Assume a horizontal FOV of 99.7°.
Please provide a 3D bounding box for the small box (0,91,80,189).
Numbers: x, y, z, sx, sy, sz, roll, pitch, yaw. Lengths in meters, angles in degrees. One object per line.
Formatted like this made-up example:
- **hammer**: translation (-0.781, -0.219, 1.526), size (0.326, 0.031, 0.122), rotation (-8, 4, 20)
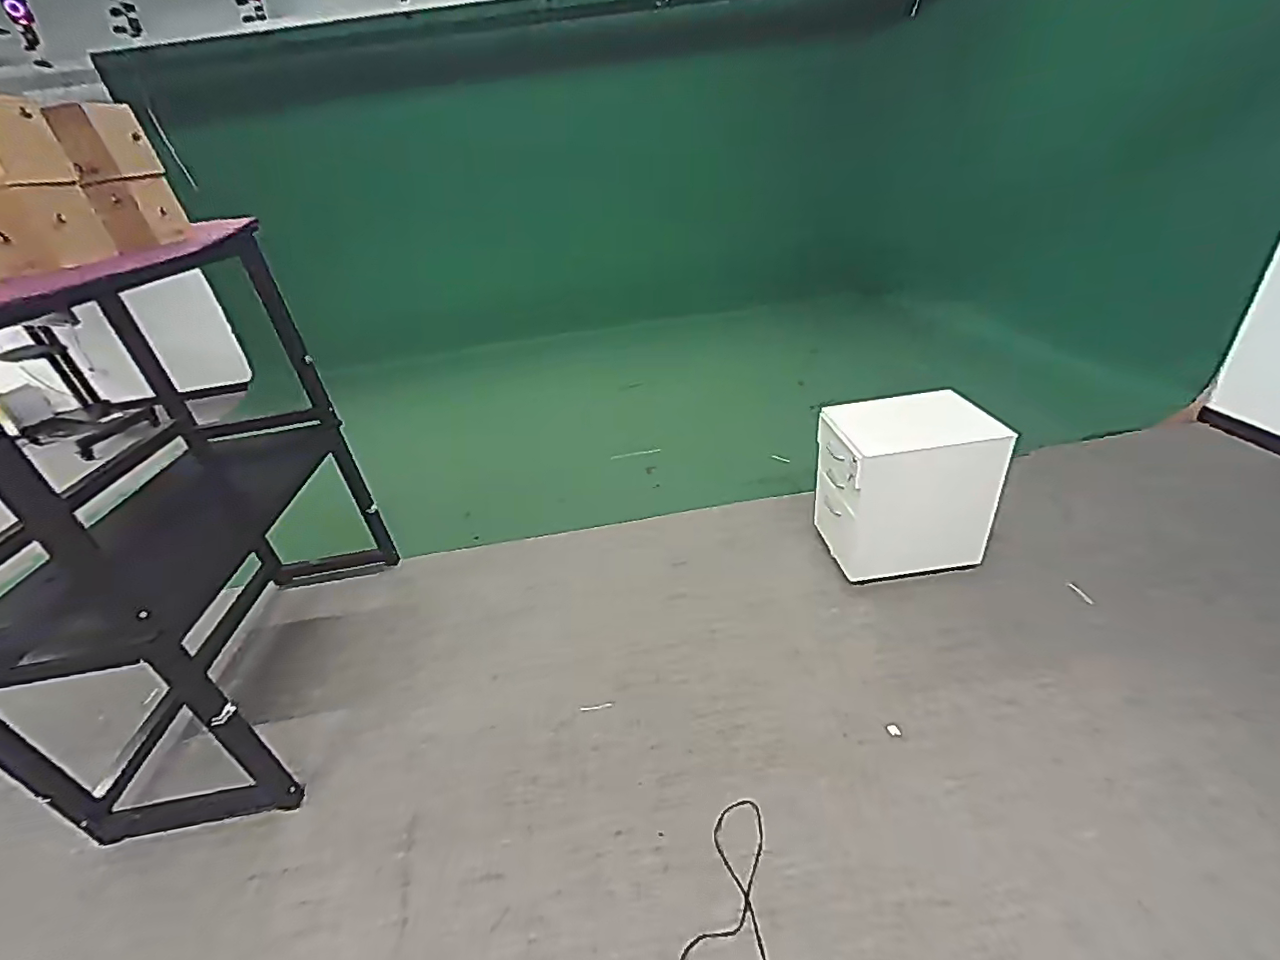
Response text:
- **small box**: translation (-1.374, -0.710, 1.145), size (0.168, 0.176, 0.179), rotation (-7, 31, 1)

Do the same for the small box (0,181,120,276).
- **small box**: translation (-1.359, -0.569, 1.228), size (0.168, 0.176, 0.179), rotation (-8, 32, -1)

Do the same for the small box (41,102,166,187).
- **small box**: translation (-1.415, -0.881, 1.425), size (0.168, 0.176, 0.179), rotation (-11, 35, 0)

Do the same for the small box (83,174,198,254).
- **small box**: translation (-1.407, -0.745, 1.516), size (0.179, 0.176, 0.168), rotation (-10, 33, 0)
